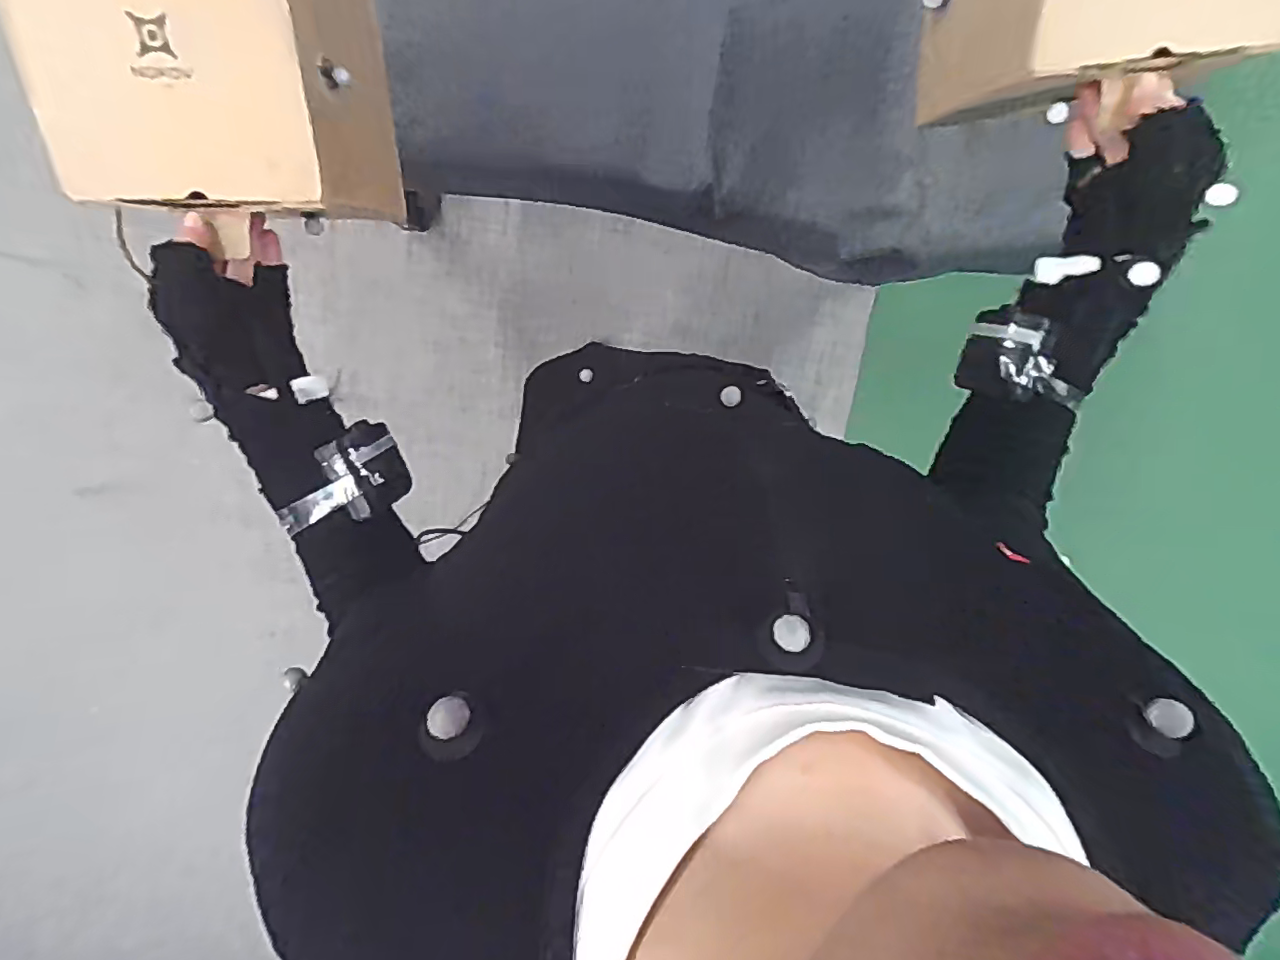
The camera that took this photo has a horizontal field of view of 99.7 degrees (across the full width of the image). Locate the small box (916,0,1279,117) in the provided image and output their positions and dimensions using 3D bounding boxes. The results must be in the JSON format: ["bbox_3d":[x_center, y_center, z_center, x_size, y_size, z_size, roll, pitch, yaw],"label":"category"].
[{"bbox_3d":[0.325,-0.383,0.393,0.168,0.176,0.179,-4,113,2],"label":"small box"}]

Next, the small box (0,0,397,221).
[{"bbox_3d":[-0.296,-0.289,0.394,0.168,0.176,0.179,-2,112,-4],"label":"small box"}]
